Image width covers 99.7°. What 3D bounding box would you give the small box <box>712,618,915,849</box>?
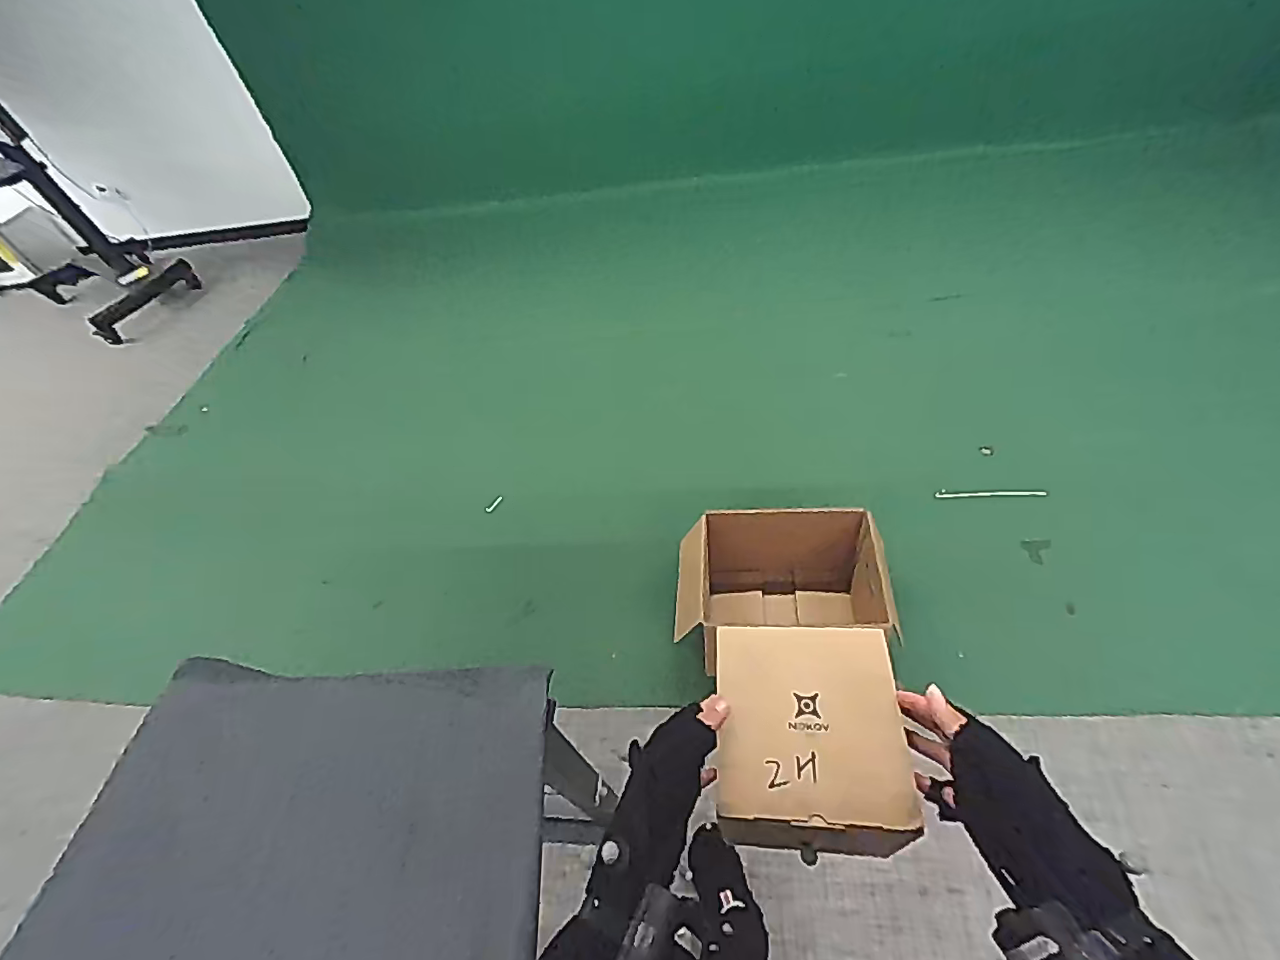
[{"bbox_3d":[0.163,0.261,0.560,0.168,0.176,0.179,-2,50,11],"label":"small box"}]
